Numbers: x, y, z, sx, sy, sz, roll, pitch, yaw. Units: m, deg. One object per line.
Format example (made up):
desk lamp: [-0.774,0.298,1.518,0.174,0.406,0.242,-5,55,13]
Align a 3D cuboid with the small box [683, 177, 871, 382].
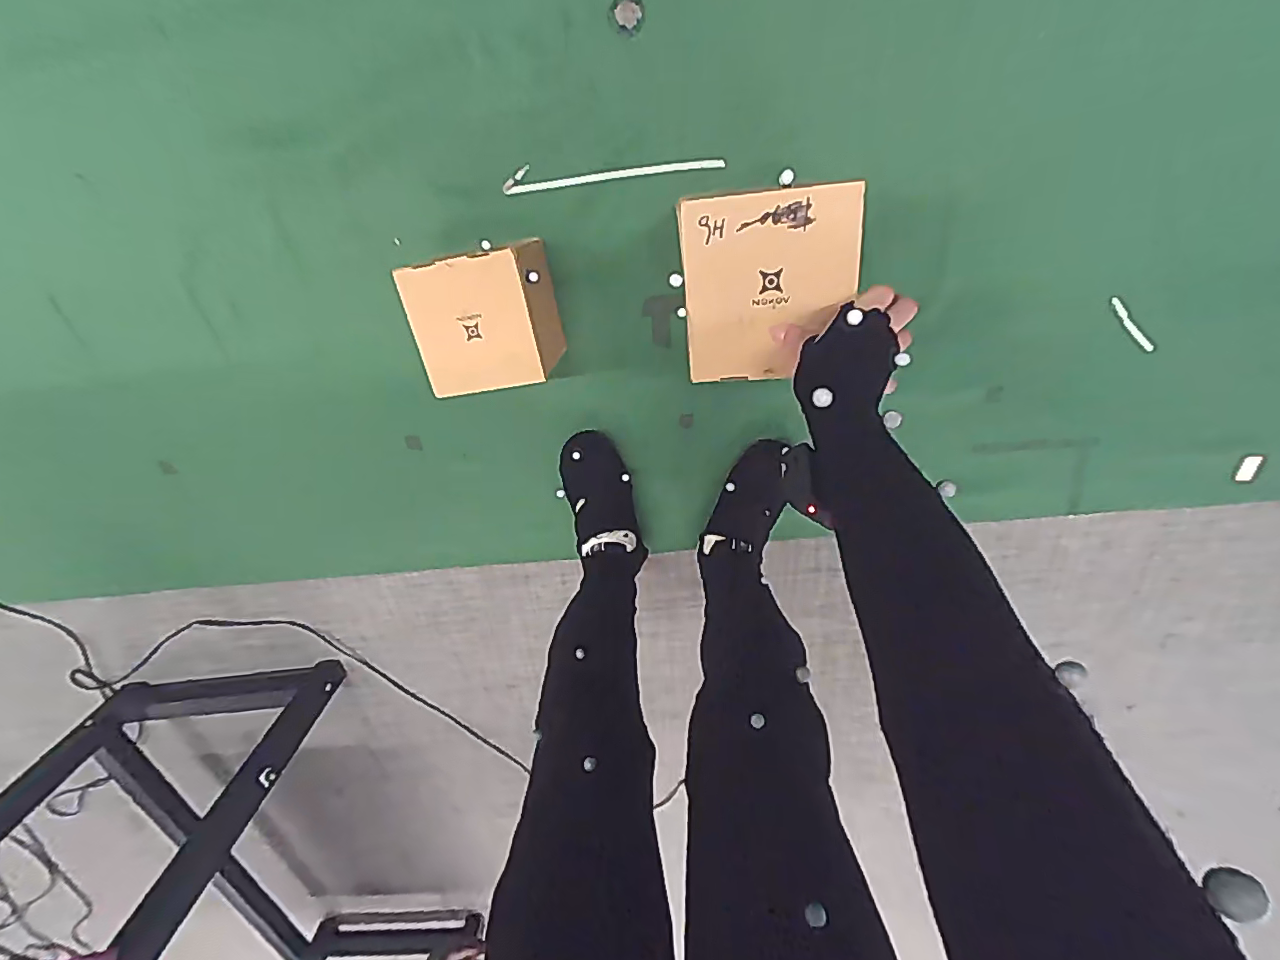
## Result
small box: [0.135,-0.222,0.589,0.168,0.176,0.179,-4,119,6]

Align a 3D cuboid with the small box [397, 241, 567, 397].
small box: [-0.213,-0.239,0.788,0.168,0.176,0.179,-7,116,7]
